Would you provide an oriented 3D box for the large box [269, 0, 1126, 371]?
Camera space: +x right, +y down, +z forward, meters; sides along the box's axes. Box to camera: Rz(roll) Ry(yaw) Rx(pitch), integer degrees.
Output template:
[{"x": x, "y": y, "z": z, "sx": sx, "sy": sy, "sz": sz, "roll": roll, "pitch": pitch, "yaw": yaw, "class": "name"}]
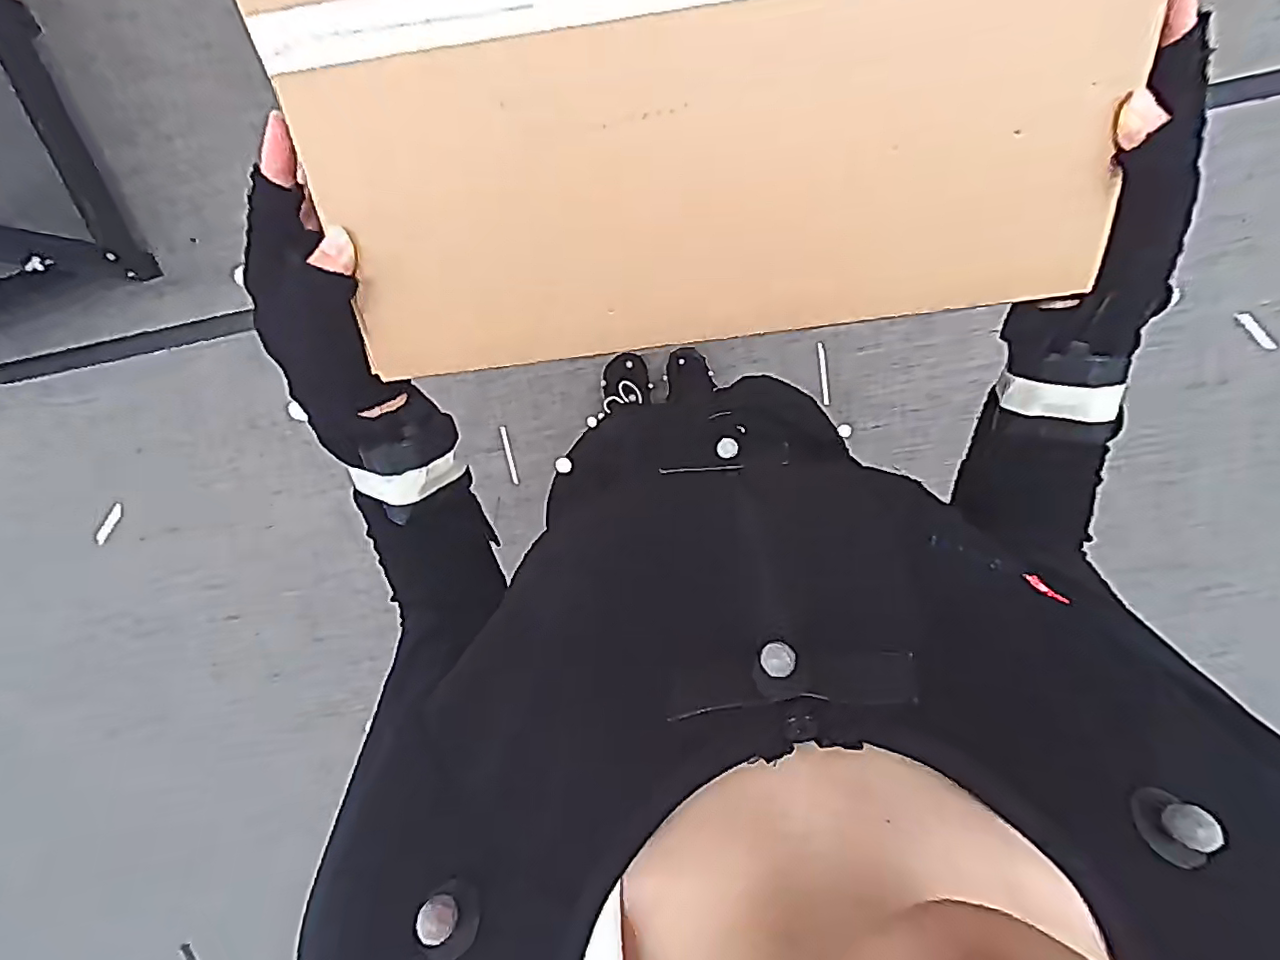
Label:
[{"x": 0.023, "y": -0.292, "z": 0.383, "sx": 0.408, "sy": 0.320, "sz": 0.320, "roll": -7, "pitch": 117, "yaw": 2, "class": "large box"}]
